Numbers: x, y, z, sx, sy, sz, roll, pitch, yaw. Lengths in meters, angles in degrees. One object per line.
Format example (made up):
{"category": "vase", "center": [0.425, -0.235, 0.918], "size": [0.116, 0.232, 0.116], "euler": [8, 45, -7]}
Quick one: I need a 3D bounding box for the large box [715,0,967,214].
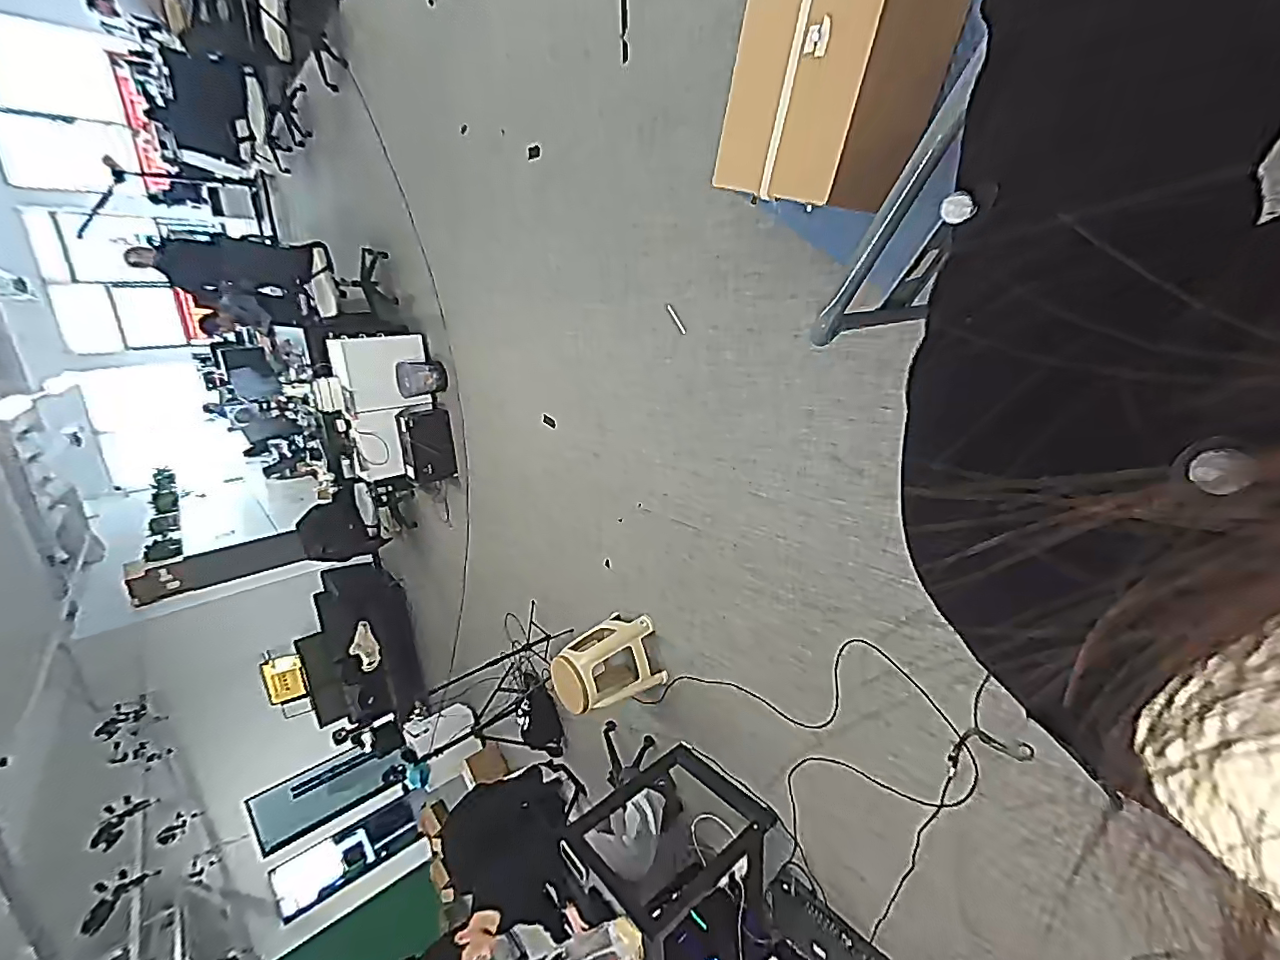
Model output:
{"category": "large box", "center": [0.409, -0.815, 1.151], "size": [0.320, 0.320, 0.408], "euler": [35, 128, 37]}
